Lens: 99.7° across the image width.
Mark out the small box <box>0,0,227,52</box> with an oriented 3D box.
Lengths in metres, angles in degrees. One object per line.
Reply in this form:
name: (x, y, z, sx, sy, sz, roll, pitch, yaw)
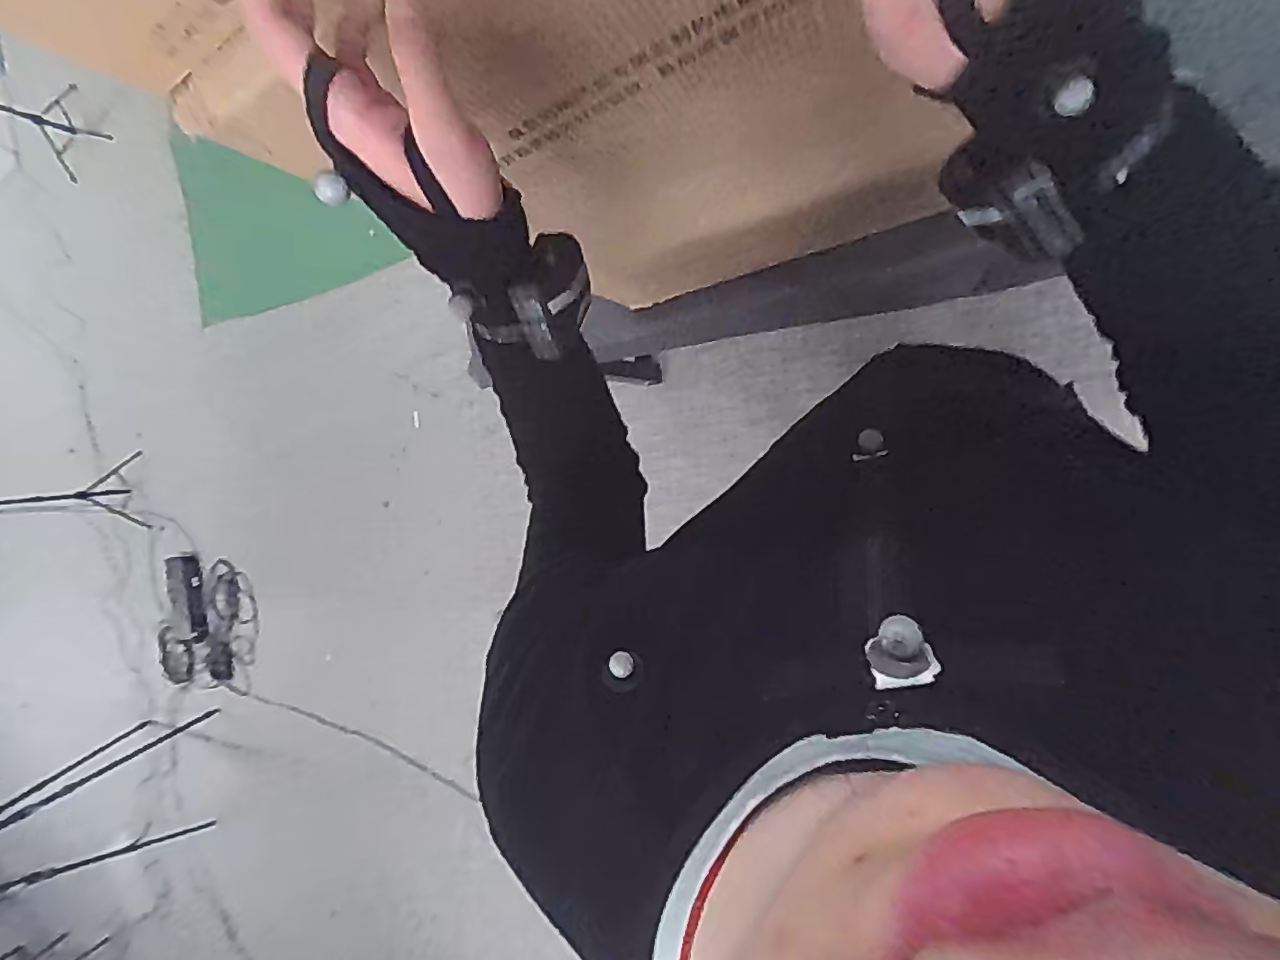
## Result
small box: (-0.273, -0.326, 0.219, 0.168, 0.176, 0.179, -7, 94, 27)
